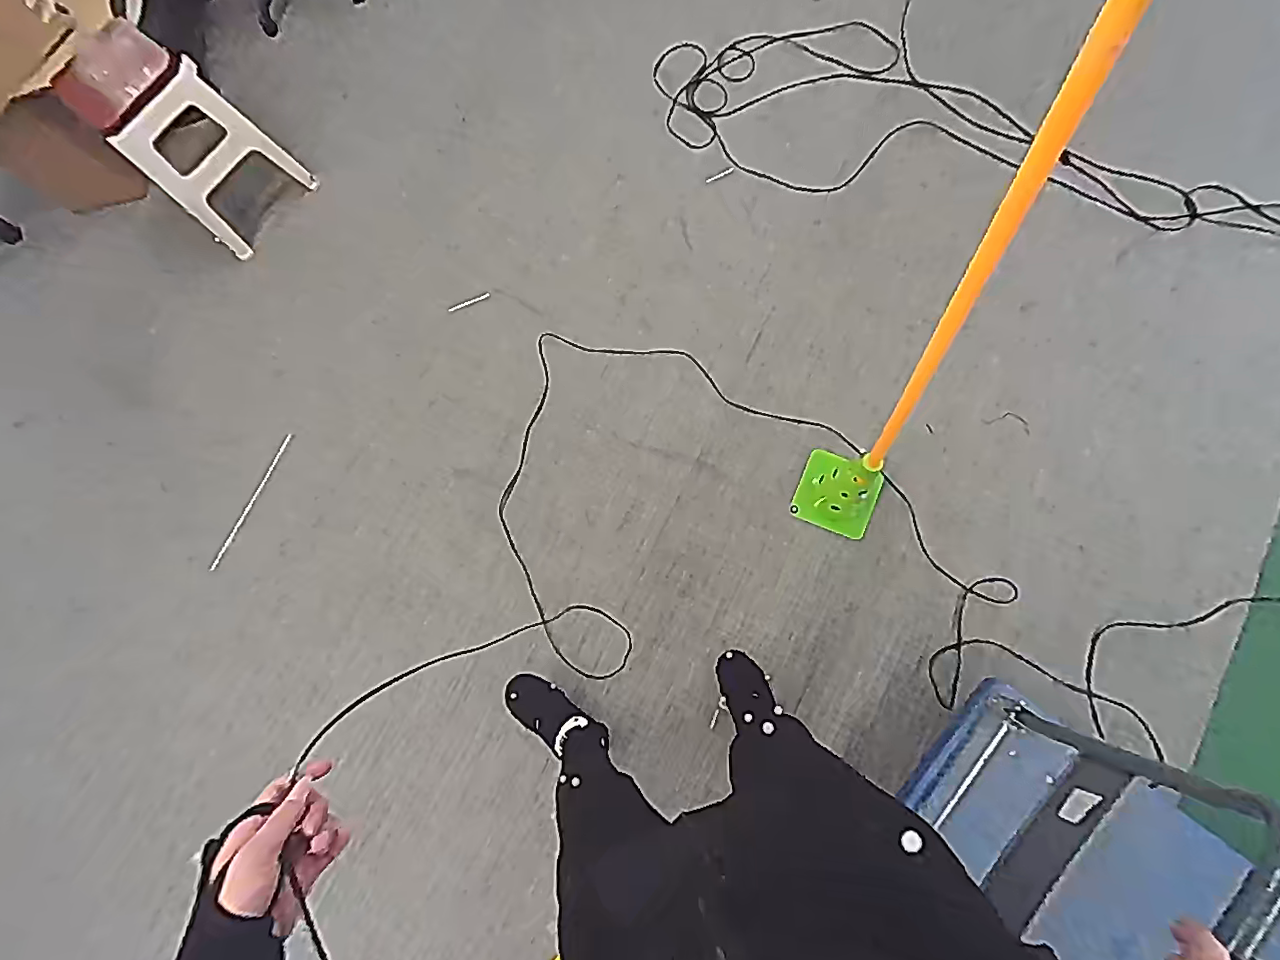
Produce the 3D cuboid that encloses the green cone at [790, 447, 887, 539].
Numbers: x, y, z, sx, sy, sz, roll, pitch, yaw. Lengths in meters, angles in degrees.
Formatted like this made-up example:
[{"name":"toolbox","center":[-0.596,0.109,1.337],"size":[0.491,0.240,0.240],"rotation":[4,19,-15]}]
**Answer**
[{"name":"green cone","center":[0.502,-0.002,1.265],"size":[0.200,0.368,0.202],"rotation":[22,80,11]}]
